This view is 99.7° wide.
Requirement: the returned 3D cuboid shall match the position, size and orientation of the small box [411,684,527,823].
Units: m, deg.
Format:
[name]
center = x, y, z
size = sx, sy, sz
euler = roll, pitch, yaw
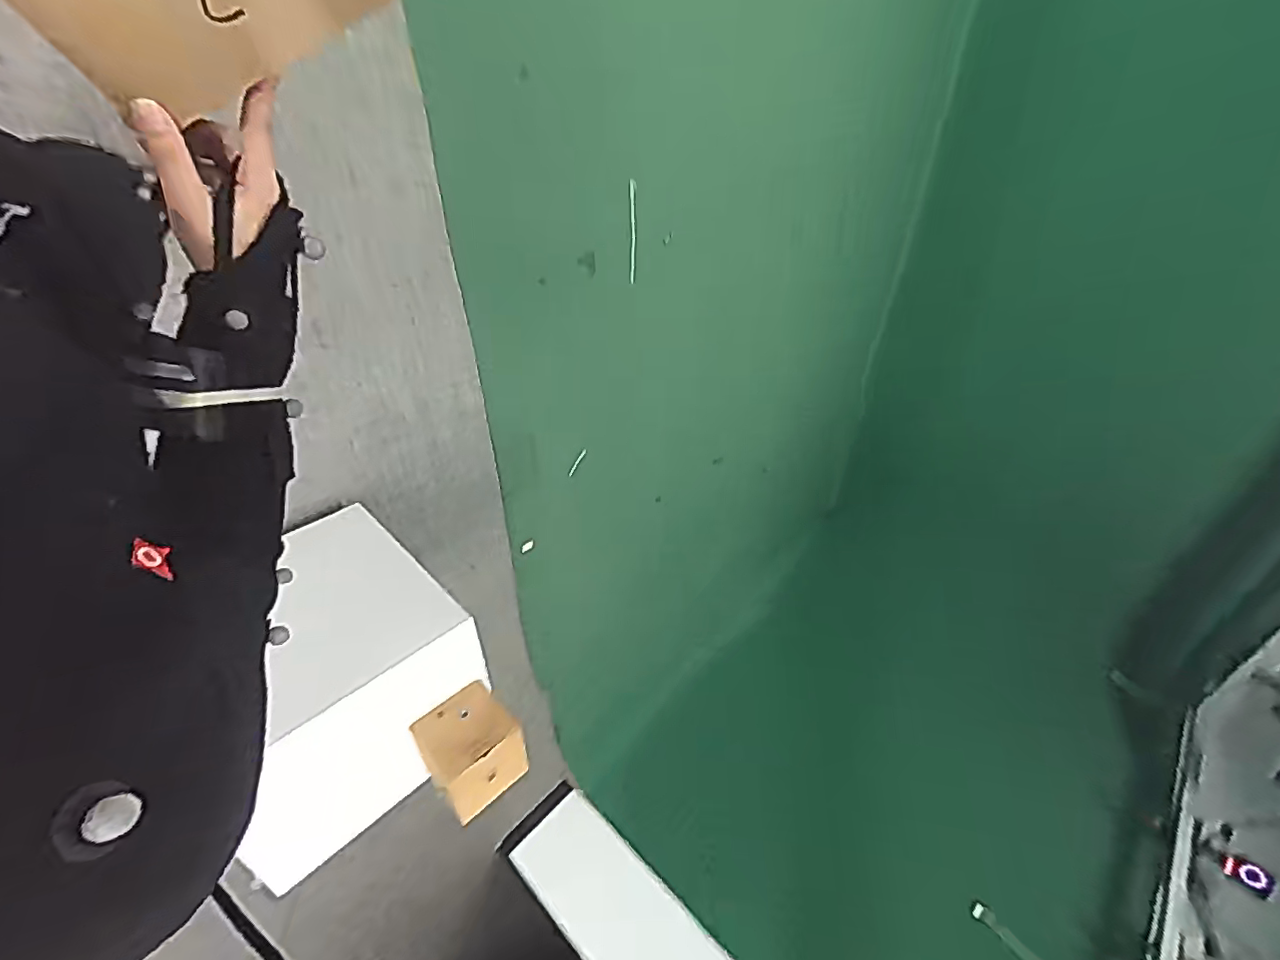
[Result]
[small box]
center = -0.367, 0.583, 1.171
size = 0.168, 0.176, 0.179
euler = -30, 134, -36
